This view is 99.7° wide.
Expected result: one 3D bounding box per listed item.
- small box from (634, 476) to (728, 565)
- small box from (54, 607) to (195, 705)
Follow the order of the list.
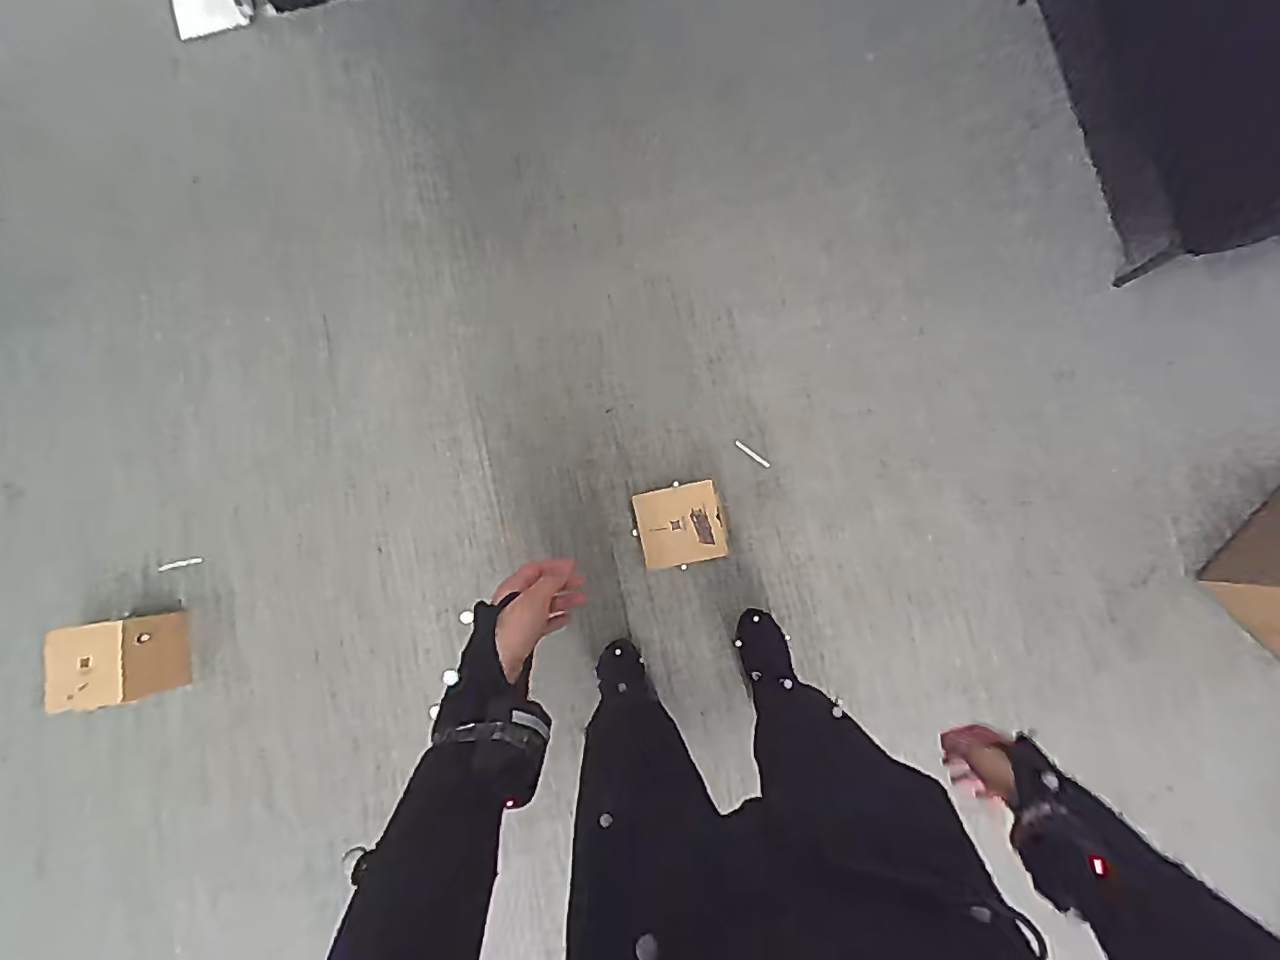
[{"bbox_3d":[0.087,0.092,1.226,0.179,0.176,0.168,-12,84,1],"label":"small box"},{"bbox_3d":[-1.150,0.386,1.218,0.168,0.176,0.179,-7,84,1],"label":"small box"}]
